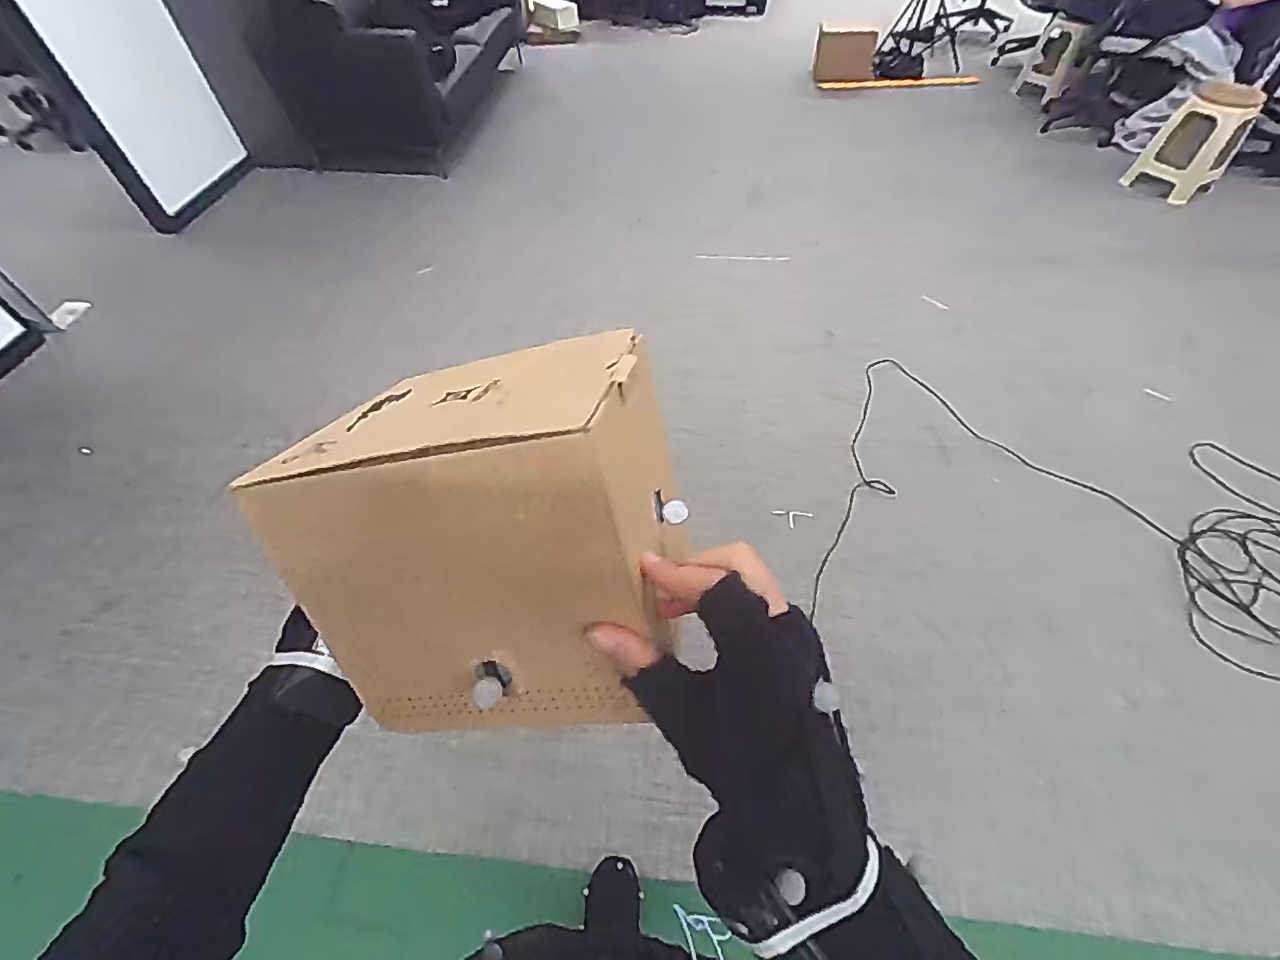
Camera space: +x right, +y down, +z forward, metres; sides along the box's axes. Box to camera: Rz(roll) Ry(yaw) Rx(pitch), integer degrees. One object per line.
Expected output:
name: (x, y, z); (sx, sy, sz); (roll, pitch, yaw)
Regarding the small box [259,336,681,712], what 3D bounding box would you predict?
small box: (-0.072, 0.024, 0.343); (0.179, 0.176, 0.168); (-8, 26, 11)
